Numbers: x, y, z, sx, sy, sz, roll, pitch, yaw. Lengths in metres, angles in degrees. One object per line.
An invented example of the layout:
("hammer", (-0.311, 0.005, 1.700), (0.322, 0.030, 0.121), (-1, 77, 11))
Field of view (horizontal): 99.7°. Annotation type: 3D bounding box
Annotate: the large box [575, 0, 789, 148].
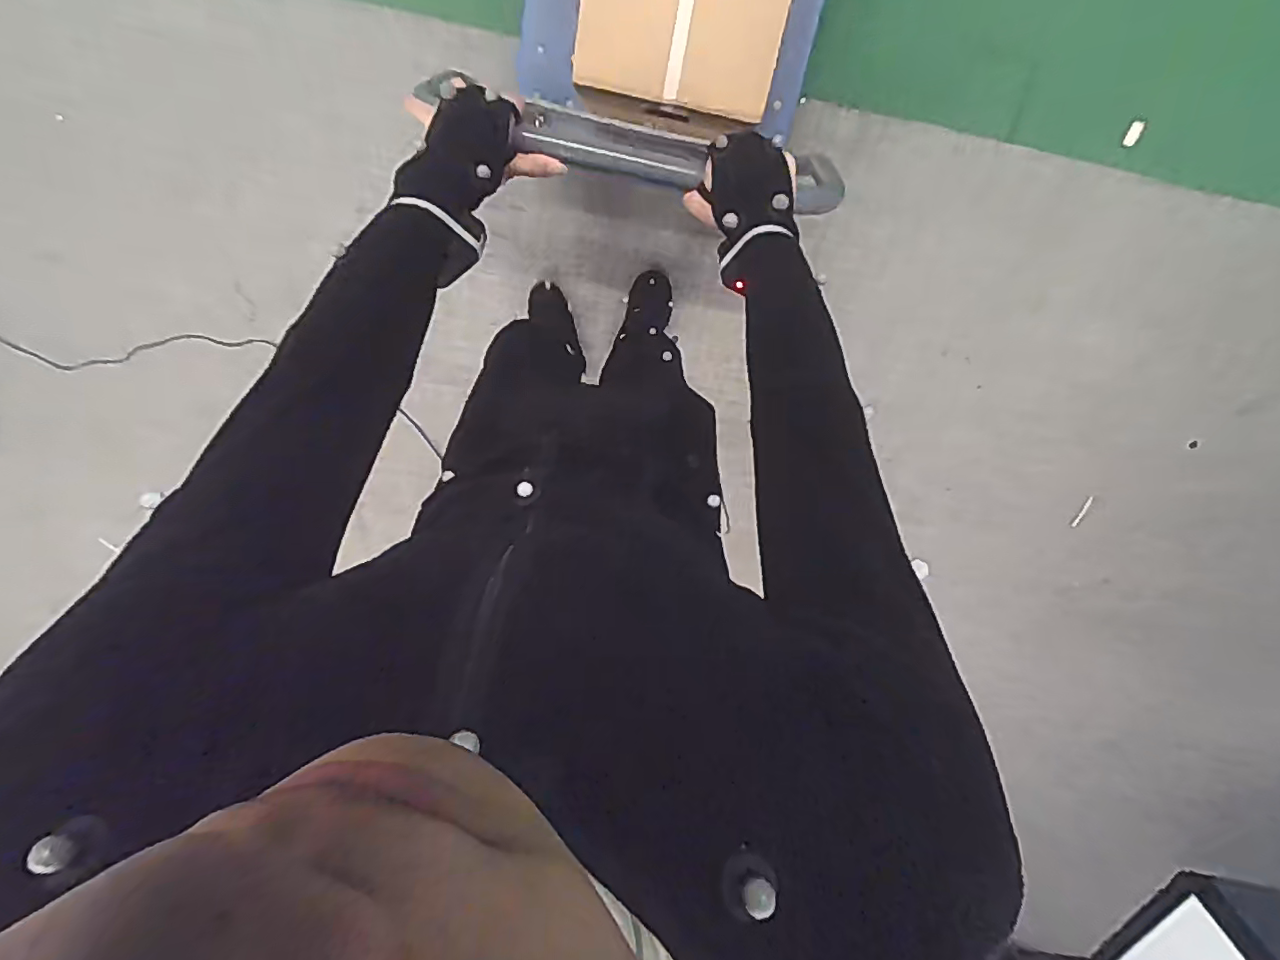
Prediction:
("large box", (0.083, -0.843, 0.927), (0.320, 0.320, 0.408), (10, 114, -4))
